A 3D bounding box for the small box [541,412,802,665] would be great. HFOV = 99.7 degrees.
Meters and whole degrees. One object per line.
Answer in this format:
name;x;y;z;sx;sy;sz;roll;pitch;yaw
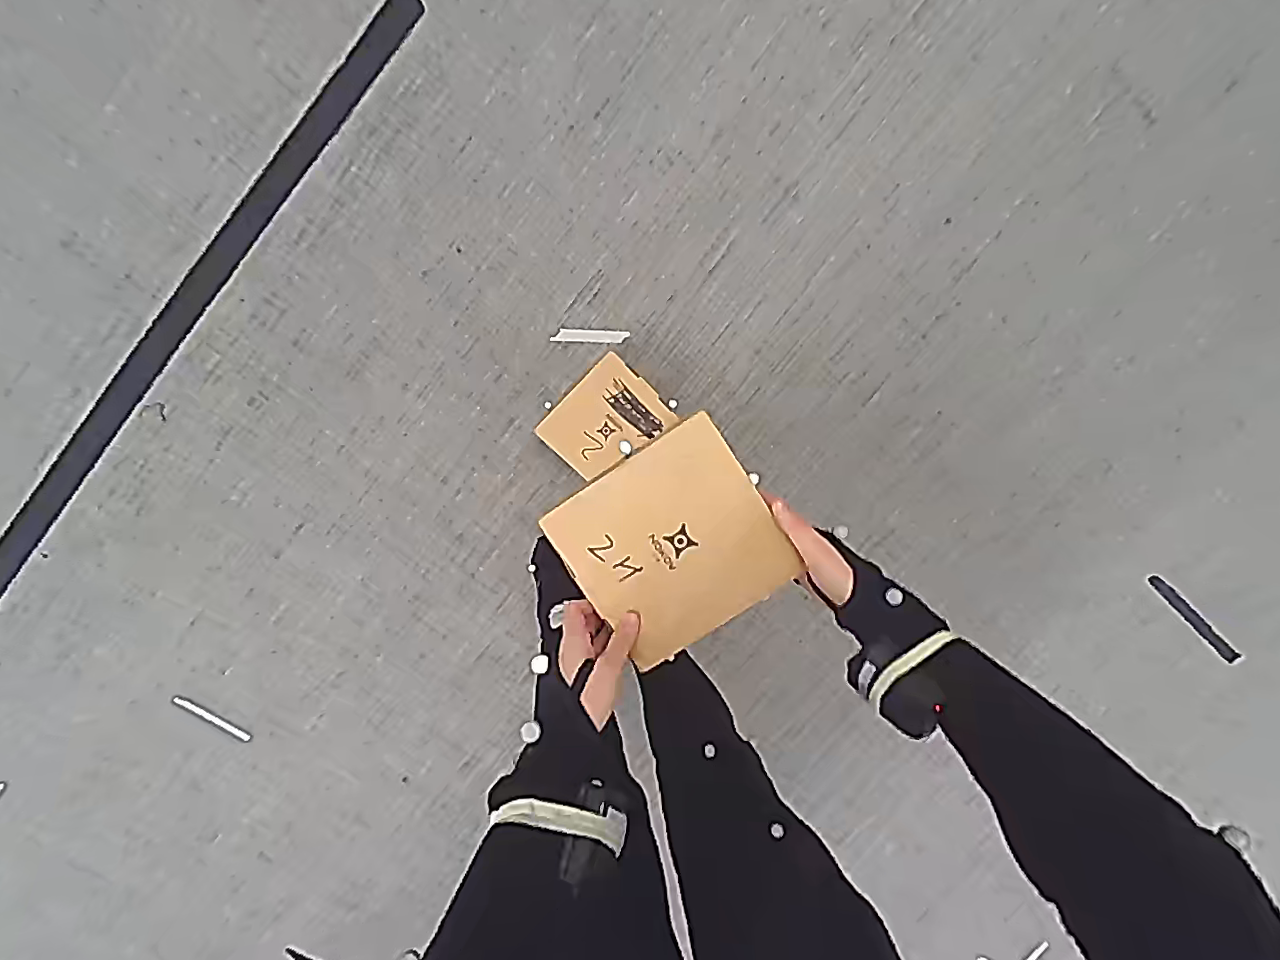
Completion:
small box;0.029;0.044;0.548;0.179;0.176;0.168;-34;94;6
